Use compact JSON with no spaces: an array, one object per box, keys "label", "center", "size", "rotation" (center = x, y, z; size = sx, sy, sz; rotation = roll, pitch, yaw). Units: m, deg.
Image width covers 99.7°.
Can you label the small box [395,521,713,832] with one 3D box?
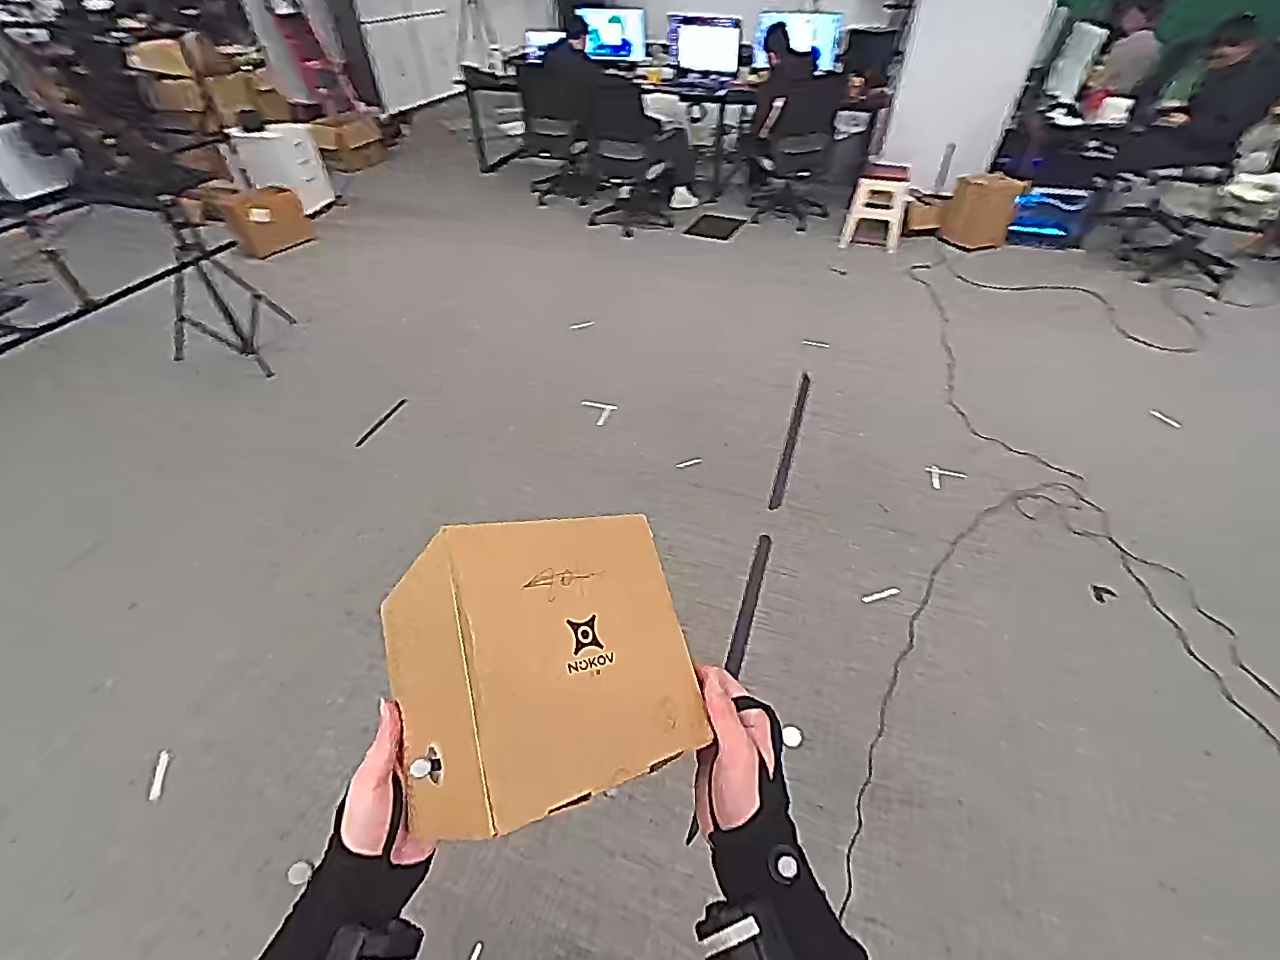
[{"label":"small box","center":[-0.078,0.146,0.421],"size":[0.168,0.176,0.179],"rotation":[1,62,-39]}]
